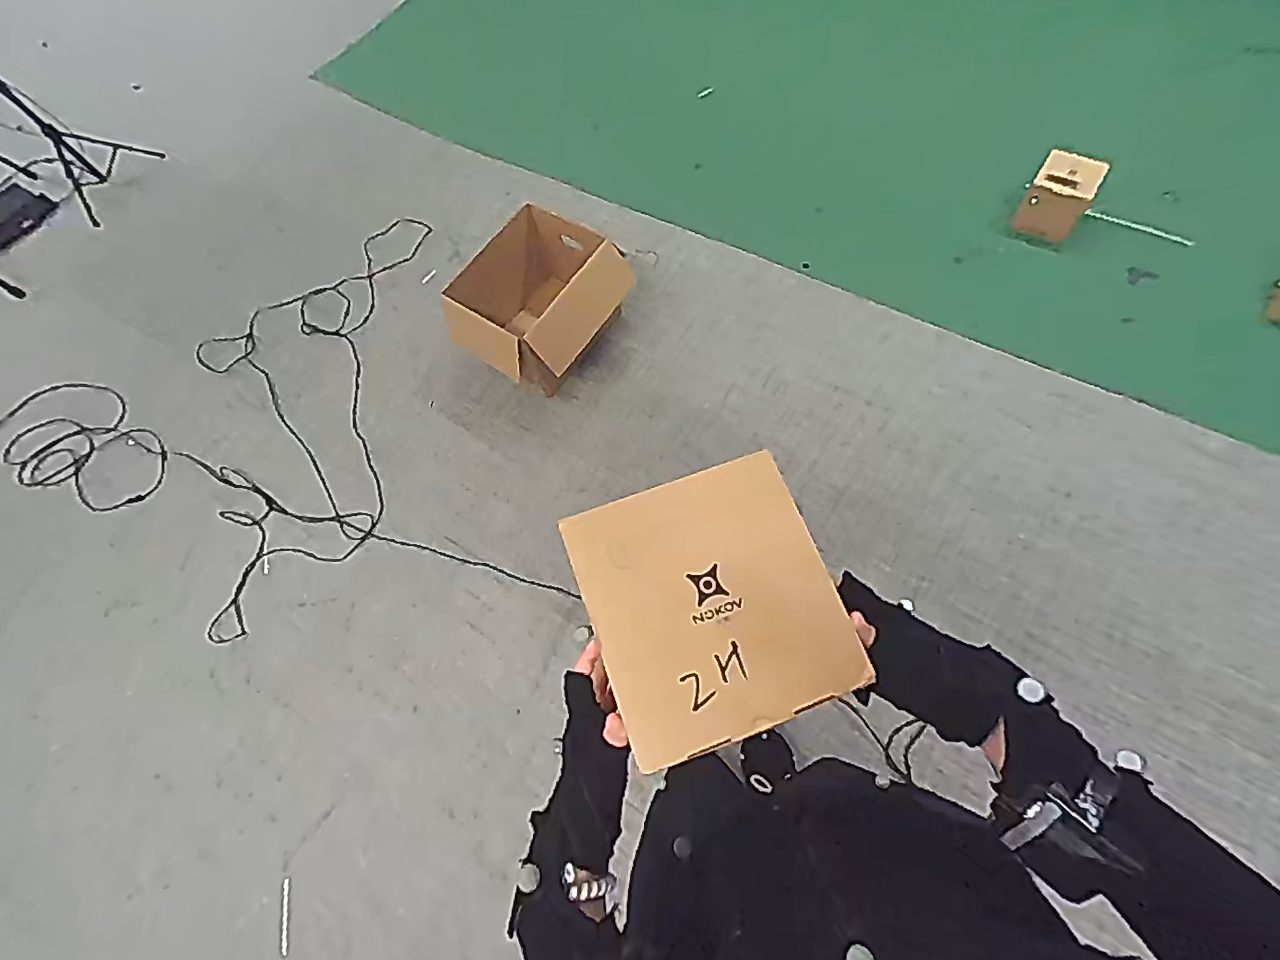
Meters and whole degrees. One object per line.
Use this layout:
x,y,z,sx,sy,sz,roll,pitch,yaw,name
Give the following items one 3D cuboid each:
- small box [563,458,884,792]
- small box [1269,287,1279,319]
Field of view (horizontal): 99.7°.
0.048,0.110,0.428,0.168,0.176,0.179,-19,73,-6,small box
1.903,-0.519,1.465,0.179,0.176,0.168,31,73,18,small box
